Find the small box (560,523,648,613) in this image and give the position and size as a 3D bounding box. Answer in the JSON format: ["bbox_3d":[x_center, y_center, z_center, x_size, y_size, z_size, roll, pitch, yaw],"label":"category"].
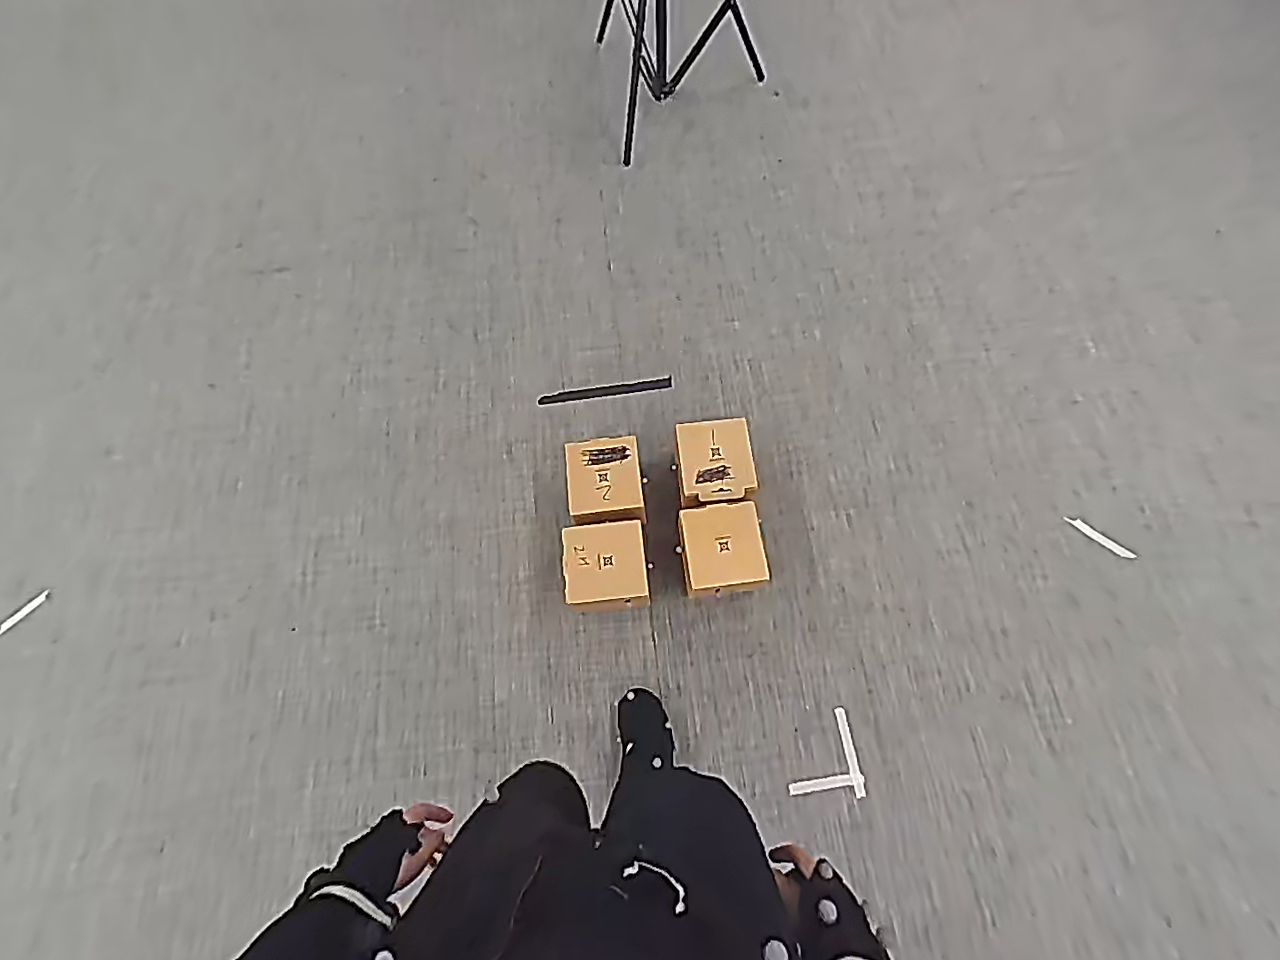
[{"bbox_3d":[-0.076,0.202,1.212,0.179,0.176,0.168,-6,70,0],"label":"small box"}]
